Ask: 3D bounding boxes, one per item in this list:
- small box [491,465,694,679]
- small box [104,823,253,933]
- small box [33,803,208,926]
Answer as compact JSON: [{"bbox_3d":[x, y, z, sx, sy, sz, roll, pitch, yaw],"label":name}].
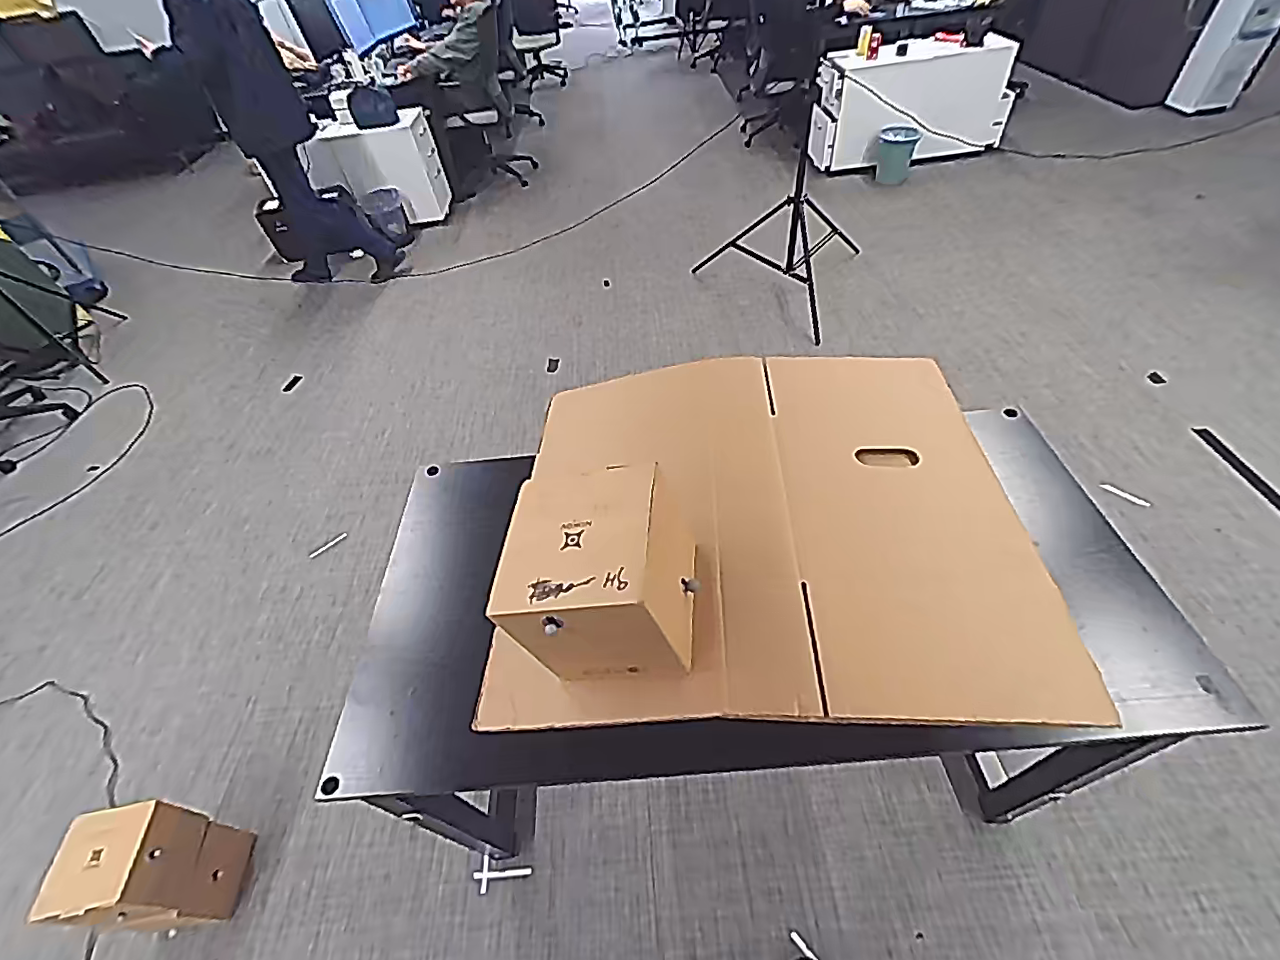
[{"bbox_3d":[-0.038,0.110,0.622,0.168,0.176,0.179,-9,47,18],"label":"small box"},{"bbox_3d":[-1.032,0.909,1.233,0.168,0.176,0.179,-9,49,0],"label":"small box"},{"bbox_3d":[-1.050,0.797,1.116,0.168,0.176,0.179,-10,47,-3],"label":"small box"}]
